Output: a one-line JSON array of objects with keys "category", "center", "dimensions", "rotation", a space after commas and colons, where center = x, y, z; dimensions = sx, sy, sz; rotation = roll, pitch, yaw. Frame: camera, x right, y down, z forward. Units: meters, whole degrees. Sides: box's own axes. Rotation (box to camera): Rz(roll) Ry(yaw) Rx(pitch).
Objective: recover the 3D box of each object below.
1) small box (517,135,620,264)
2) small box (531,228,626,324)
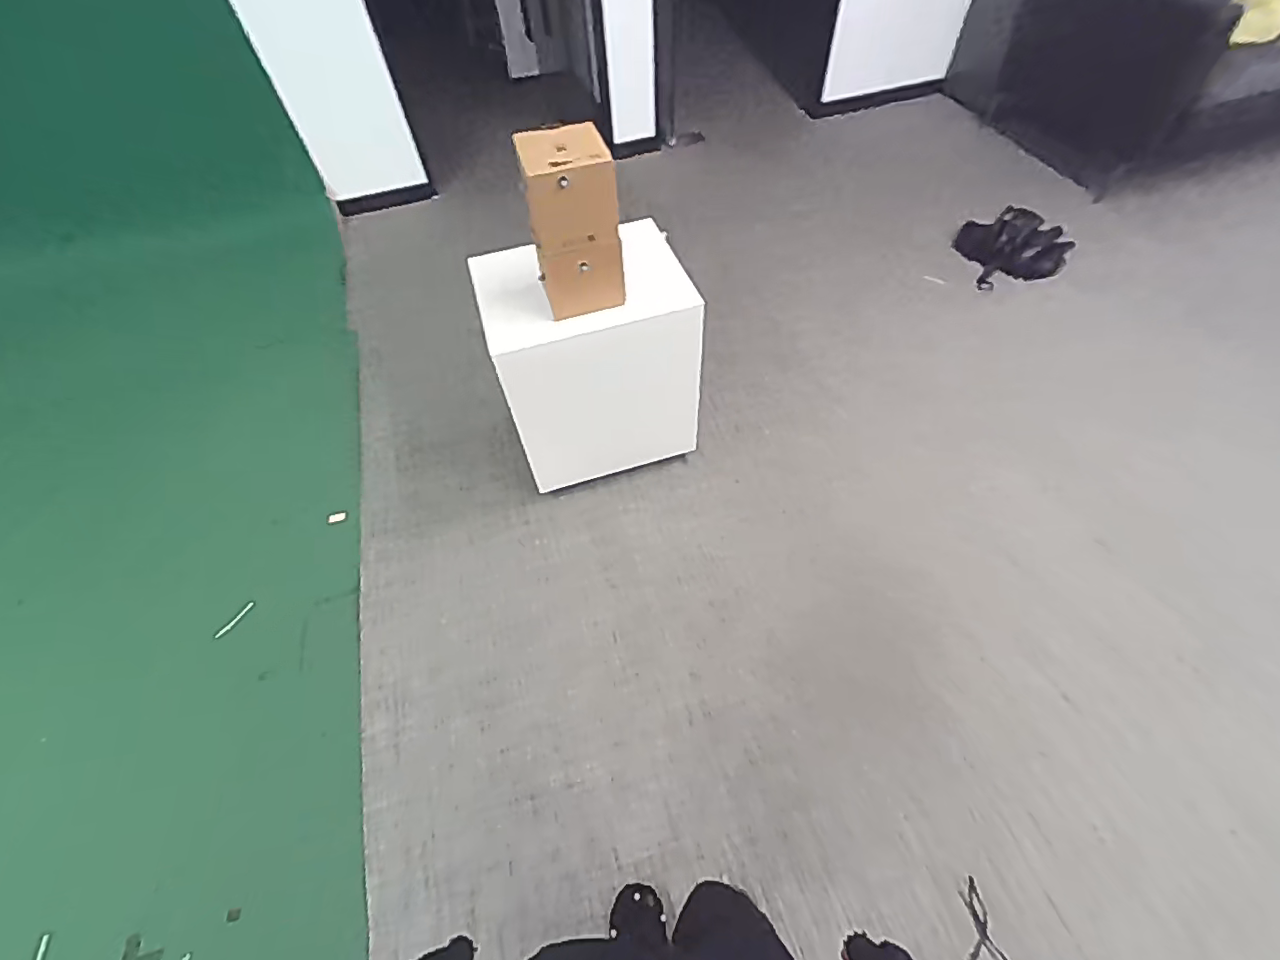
[{"category": "small box", "center": [-0.146, -0.583, 1.129], "dimensions": [0.168, 0.176, 0.179], "rotation": [-17, 56, -10]}, {"category": "small box", "center": [-0.140, -0.487, 1.258], "dimensions": [0.179, 0.176, 0.168], "rotation": [-16, 56, -9]}]
